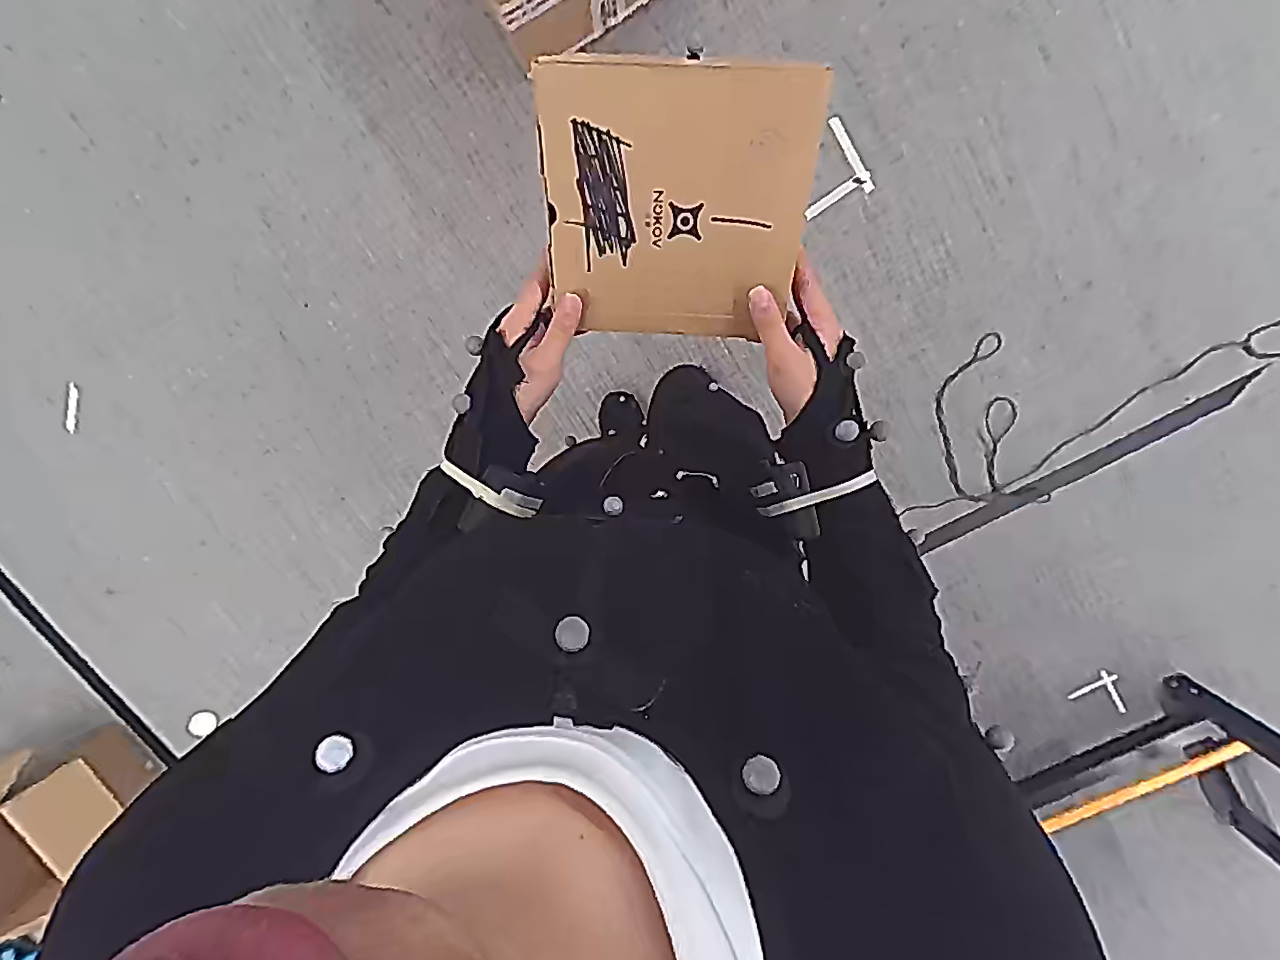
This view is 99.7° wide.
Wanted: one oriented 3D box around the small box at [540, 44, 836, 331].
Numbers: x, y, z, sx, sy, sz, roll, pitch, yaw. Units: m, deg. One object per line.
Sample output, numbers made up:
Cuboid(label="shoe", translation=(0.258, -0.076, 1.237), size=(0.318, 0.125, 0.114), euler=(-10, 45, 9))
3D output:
Cuboid(label="small box", translation=(0.030, -0.233, 0.425), size=(0.179, 0.176, 0.168), euler=(4, 129, 2))
